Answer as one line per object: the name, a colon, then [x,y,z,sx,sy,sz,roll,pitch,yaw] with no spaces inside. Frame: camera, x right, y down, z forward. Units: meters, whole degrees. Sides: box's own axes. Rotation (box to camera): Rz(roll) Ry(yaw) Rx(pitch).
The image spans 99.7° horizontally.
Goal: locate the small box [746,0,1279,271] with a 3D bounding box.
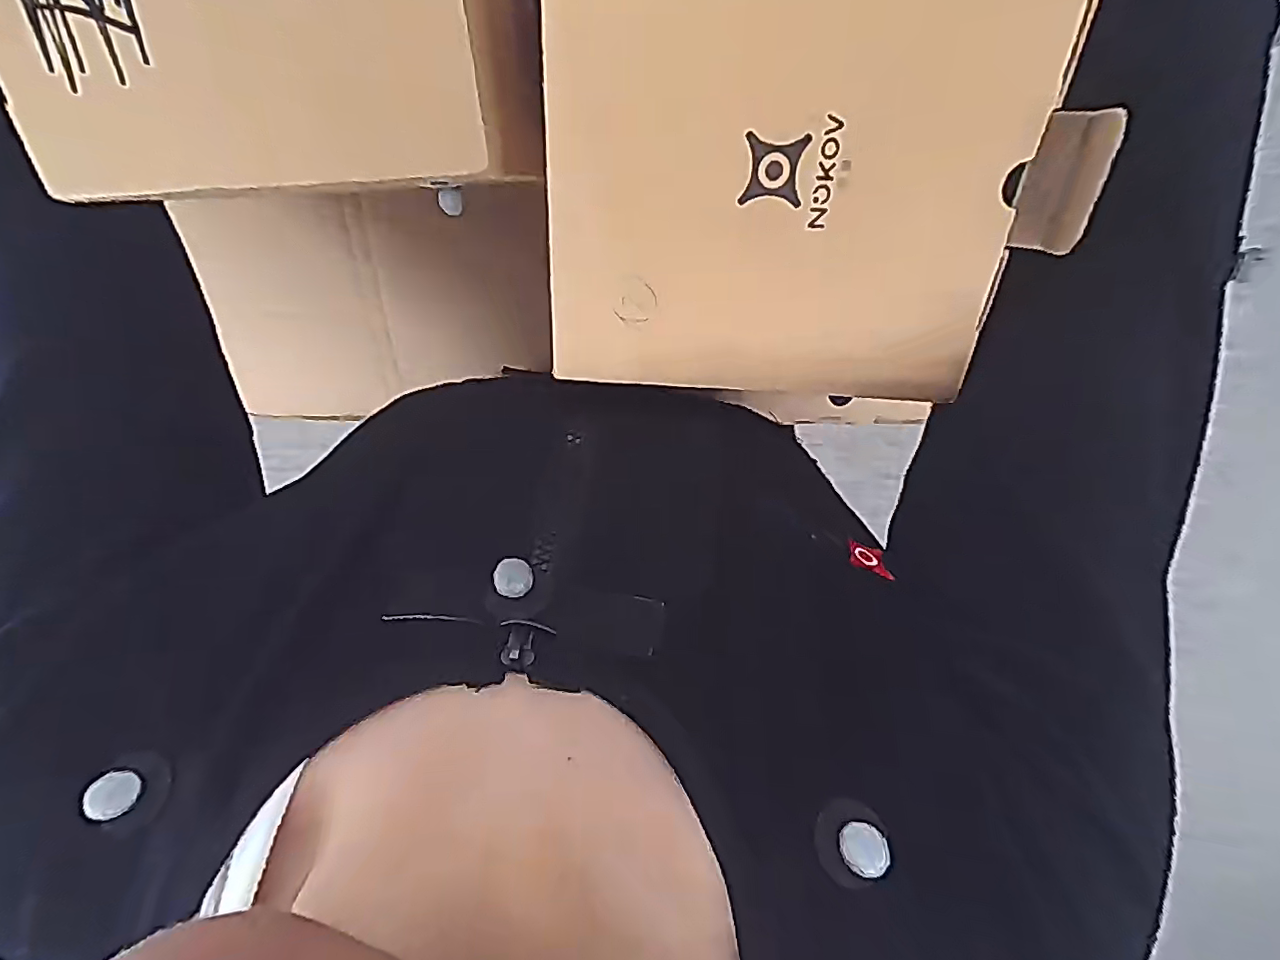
small box: [0.157,-0.203,0.213,0.179,0.176,0.168,15,126,-6]
